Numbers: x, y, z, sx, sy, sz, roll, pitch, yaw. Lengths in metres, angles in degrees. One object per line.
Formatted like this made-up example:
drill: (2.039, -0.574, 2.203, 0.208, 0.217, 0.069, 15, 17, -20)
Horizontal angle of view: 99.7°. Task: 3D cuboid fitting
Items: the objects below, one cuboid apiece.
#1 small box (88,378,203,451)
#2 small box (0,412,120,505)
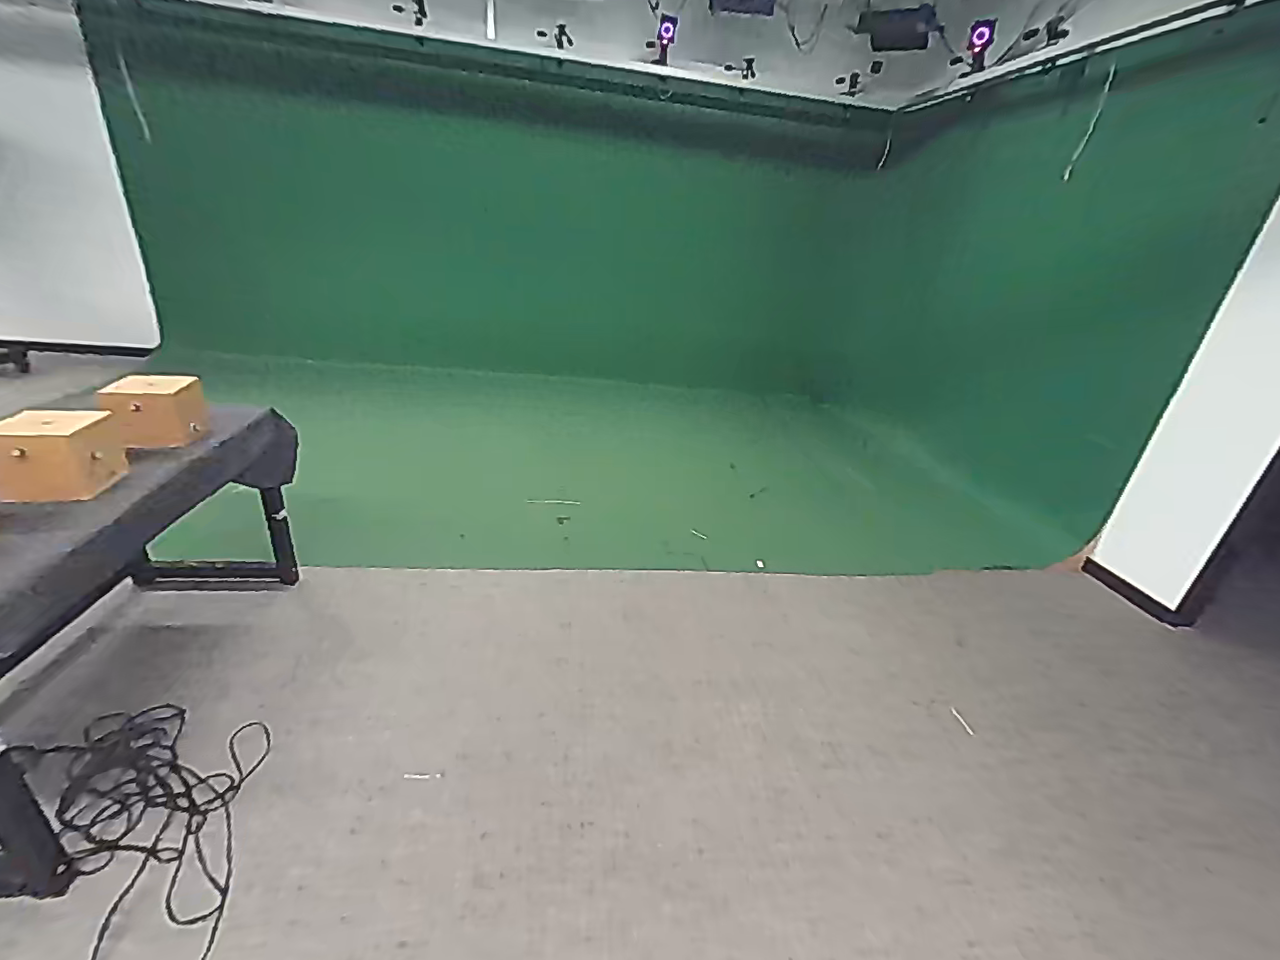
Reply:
small box: (-1.414, -0.190, 1.561, 0.179, 0.176, 0.168, -1, 27, -16)
small box: (-1.385, -0.051, 1.267, 0.179, 0.176, 0.168, -1, 26, -14)
